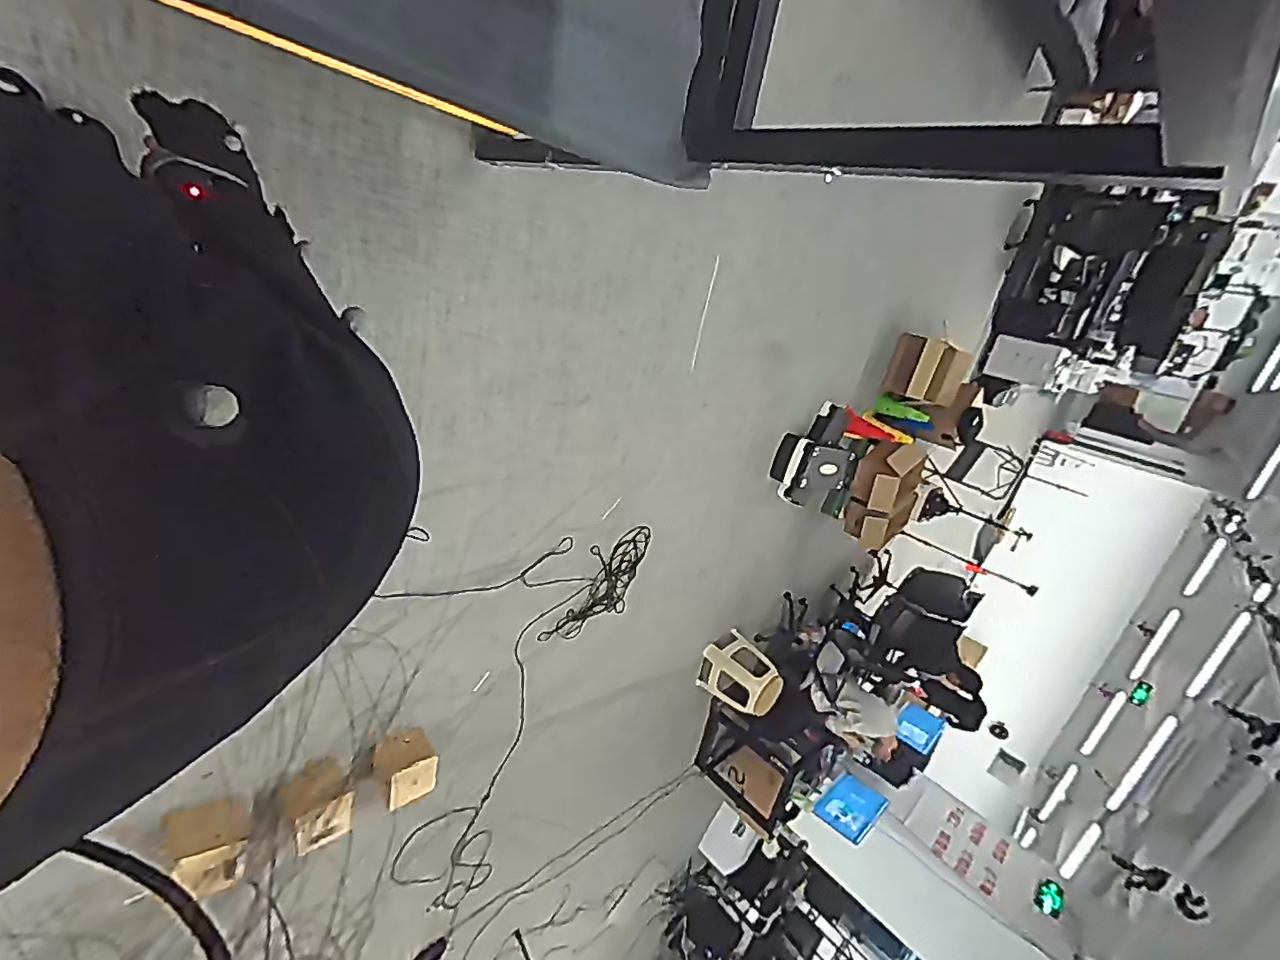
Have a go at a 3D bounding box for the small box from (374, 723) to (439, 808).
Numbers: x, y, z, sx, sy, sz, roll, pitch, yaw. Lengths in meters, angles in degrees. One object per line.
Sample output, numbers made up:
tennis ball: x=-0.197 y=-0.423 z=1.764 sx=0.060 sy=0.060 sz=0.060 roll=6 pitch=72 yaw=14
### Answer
small box: x=-0.854 y=1.033 z=1.971 sx=0.168 sy=0.176 sz=0.179 roll=-9 pitch=118 yaw=-46

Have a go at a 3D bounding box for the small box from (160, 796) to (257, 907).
small box: x=-1.237 y=1.049 z=1.547 sx=0.179 sy=0.176 sz=0.168 roll=11 pitch=103 yaw=-49
